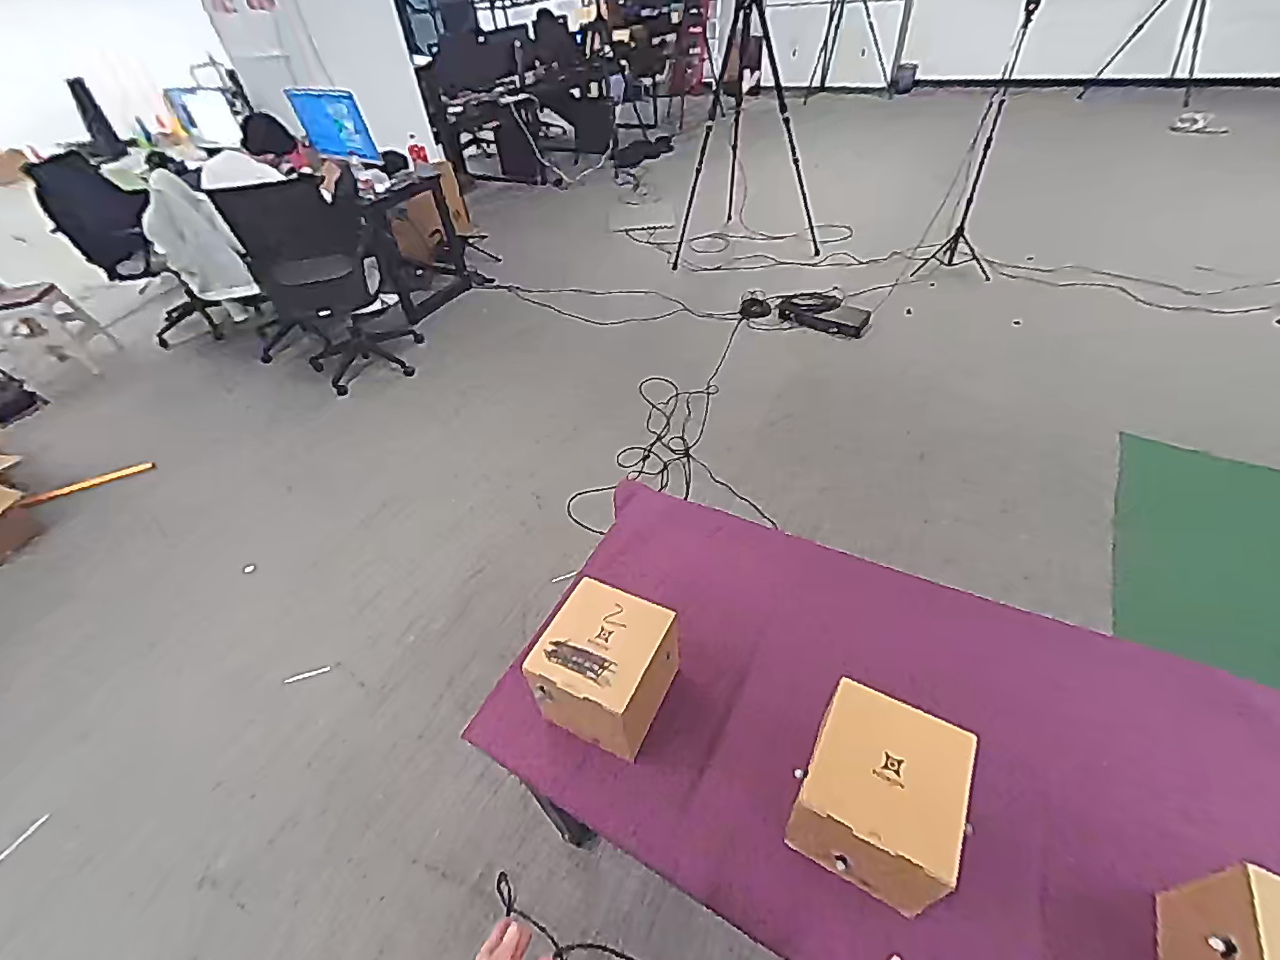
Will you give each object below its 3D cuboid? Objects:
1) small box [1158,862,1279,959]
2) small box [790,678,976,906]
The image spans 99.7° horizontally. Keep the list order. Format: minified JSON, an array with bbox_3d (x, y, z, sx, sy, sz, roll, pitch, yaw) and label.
[{"bbox_3d":[0.652,0.527,0.526,0.168,0.176,0.179,20,49,26],"label":"small box"},{"bbox_3d":[0.304,0.400,0.698,0.168,0.176,0.179,20,50,23],"label":"small box"}]
